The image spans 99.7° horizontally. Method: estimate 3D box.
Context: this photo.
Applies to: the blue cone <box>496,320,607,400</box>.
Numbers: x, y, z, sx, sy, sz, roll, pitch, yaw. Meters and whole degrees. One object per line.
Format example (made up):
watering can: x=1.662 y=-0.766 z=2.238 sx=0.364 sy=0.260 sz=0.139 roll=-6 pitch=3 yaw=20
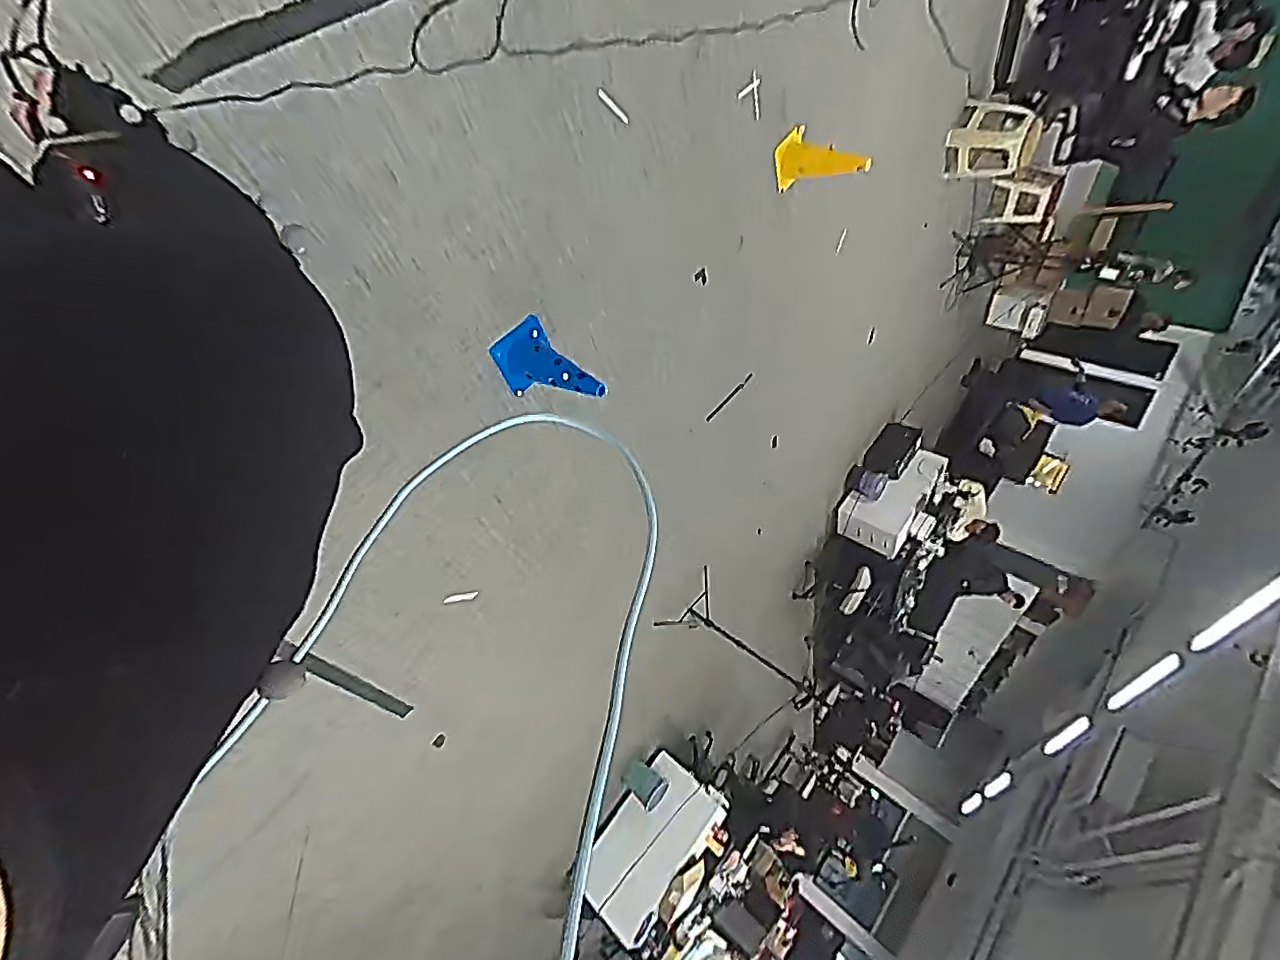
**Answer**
blue cone: x=-0.242 y=-0.324 z=1.624 sx=0.193 sy=0.380 sz=0.192 roll=-46 pitch=144 yaw=-22
